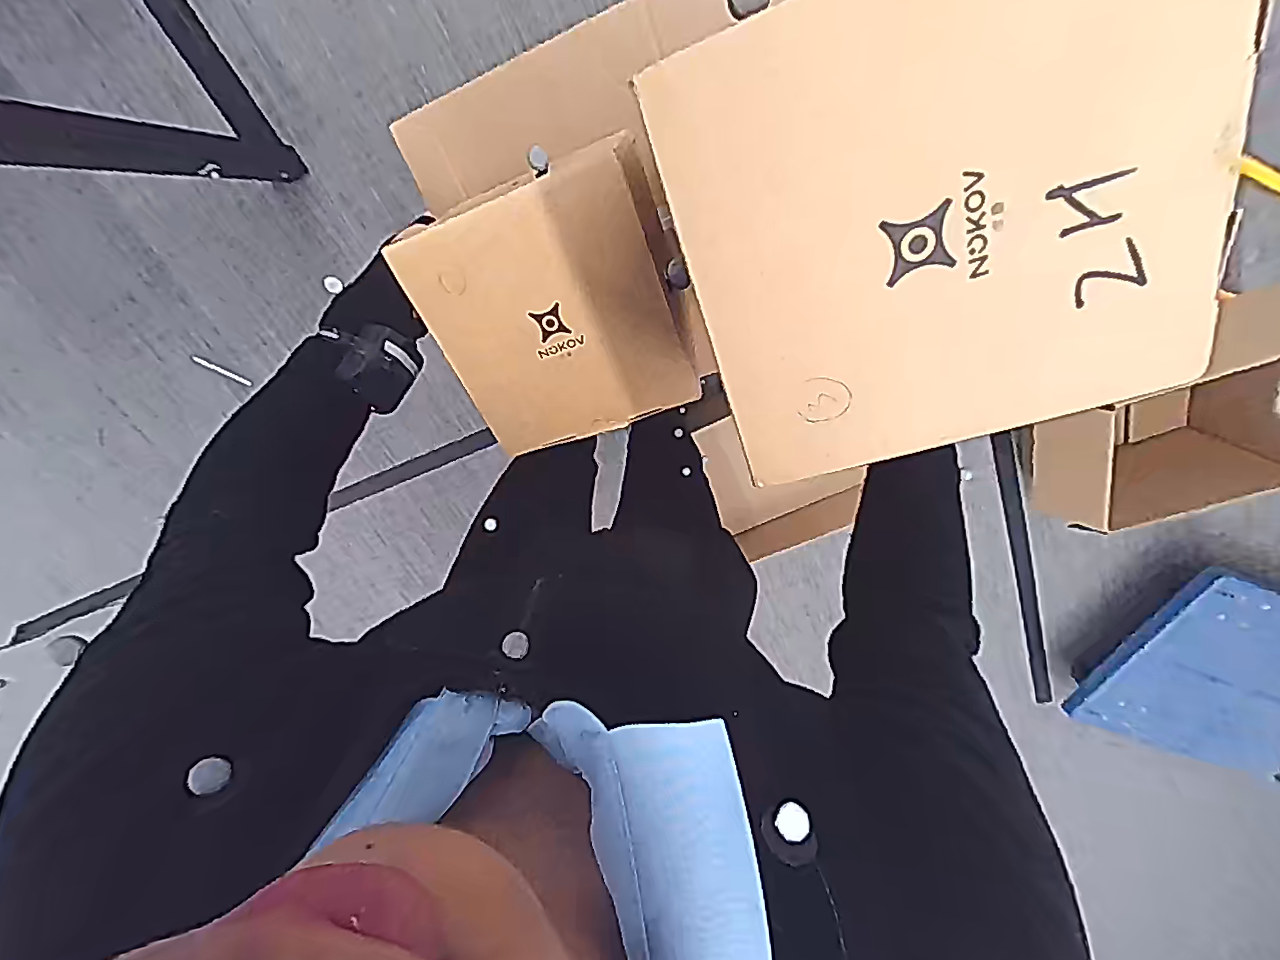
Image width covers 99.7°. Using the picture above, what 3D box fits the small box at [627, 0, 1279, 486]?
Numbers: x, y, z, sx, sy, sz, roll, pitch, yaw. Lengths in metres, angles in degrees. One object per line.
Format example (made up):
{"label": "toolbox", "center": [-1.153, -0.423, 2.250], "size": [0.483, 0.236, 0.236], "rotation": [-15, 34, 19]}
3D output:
{"label": "small box", "center": [0.110, -0.125, 0.245], "size": [0.179, 0.176, 0.168], "rotation": [-14, 120, 14]}
